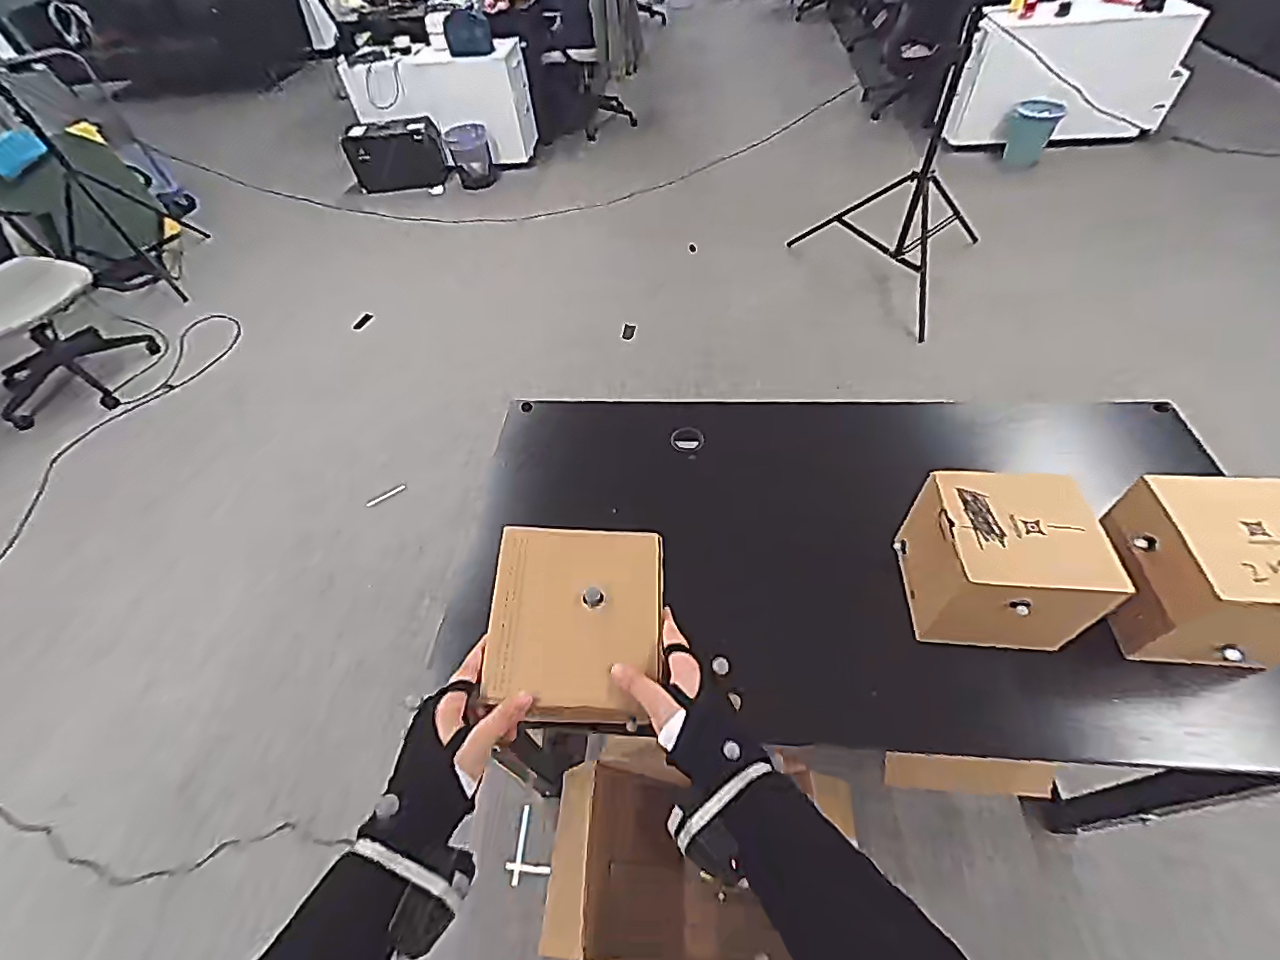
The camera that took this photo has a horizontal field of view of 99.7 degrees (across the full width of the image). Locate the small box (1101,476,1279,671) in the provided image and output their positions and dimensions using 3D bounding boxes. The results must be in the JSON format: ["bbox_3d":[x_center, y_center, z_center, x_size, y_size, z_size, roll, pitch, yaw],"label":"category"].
[{"bbox_3d":[0.704,0.116,0.672,0.168,0.176,0.179,1,51,8],"label":"small box"}]

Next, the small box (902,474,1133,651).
[{"bbox_3d":[0.460,0.109,0.702,0.179,0.176,0.168,2,51,6],"label":"small box"}]
